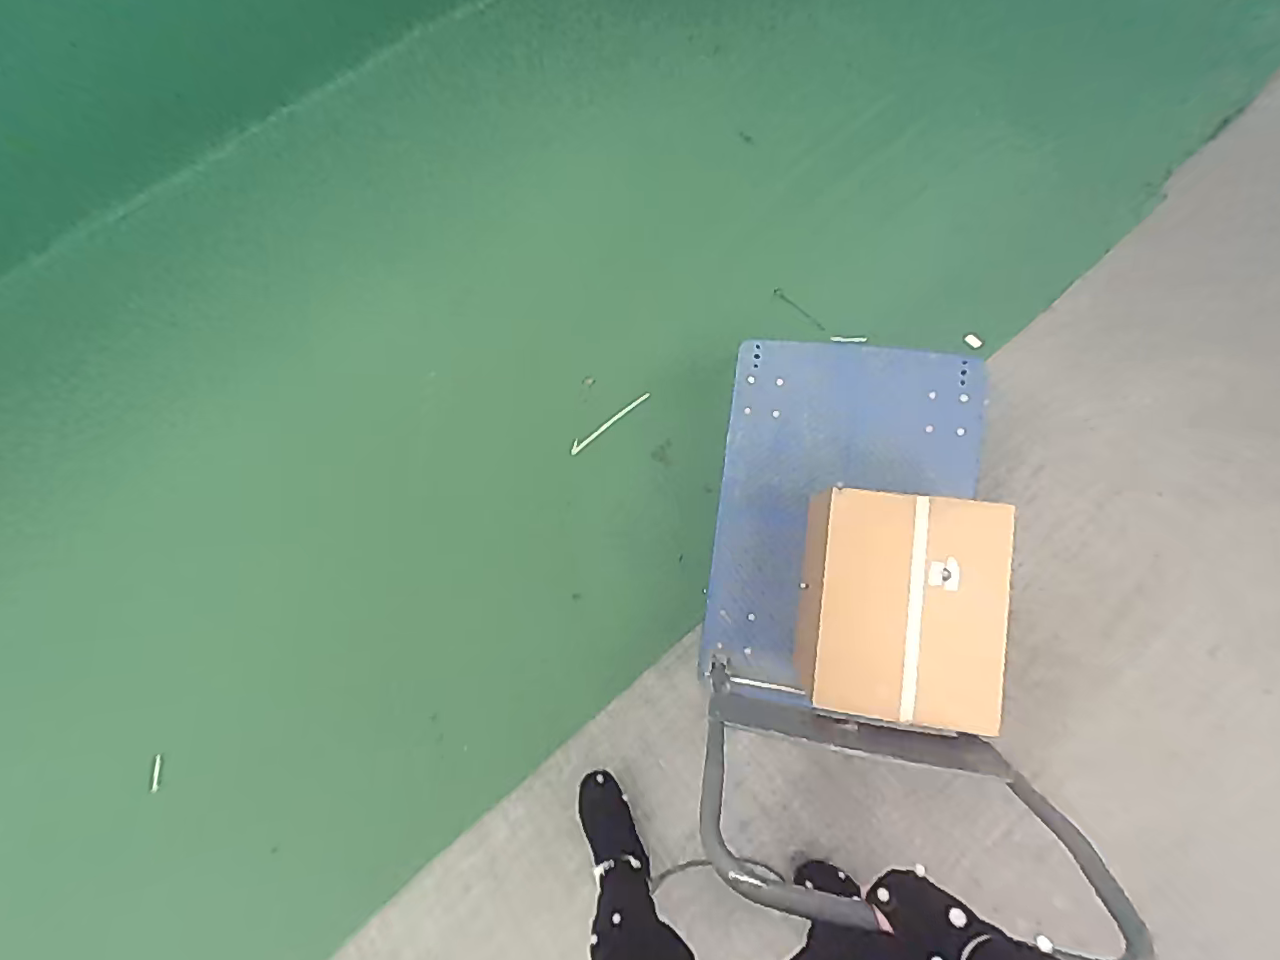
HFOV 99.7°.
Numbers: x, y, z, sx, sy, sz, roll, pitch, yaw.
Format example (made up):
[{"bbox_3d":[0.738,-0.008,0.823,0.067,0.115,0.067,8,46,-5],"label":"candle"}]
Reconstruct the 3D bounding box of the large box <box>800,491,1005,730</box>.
[{"bbox_3d":[0.514,0.245,1.123,0.320,0.320,0.408,5,85,9],"label":"large box"}]
